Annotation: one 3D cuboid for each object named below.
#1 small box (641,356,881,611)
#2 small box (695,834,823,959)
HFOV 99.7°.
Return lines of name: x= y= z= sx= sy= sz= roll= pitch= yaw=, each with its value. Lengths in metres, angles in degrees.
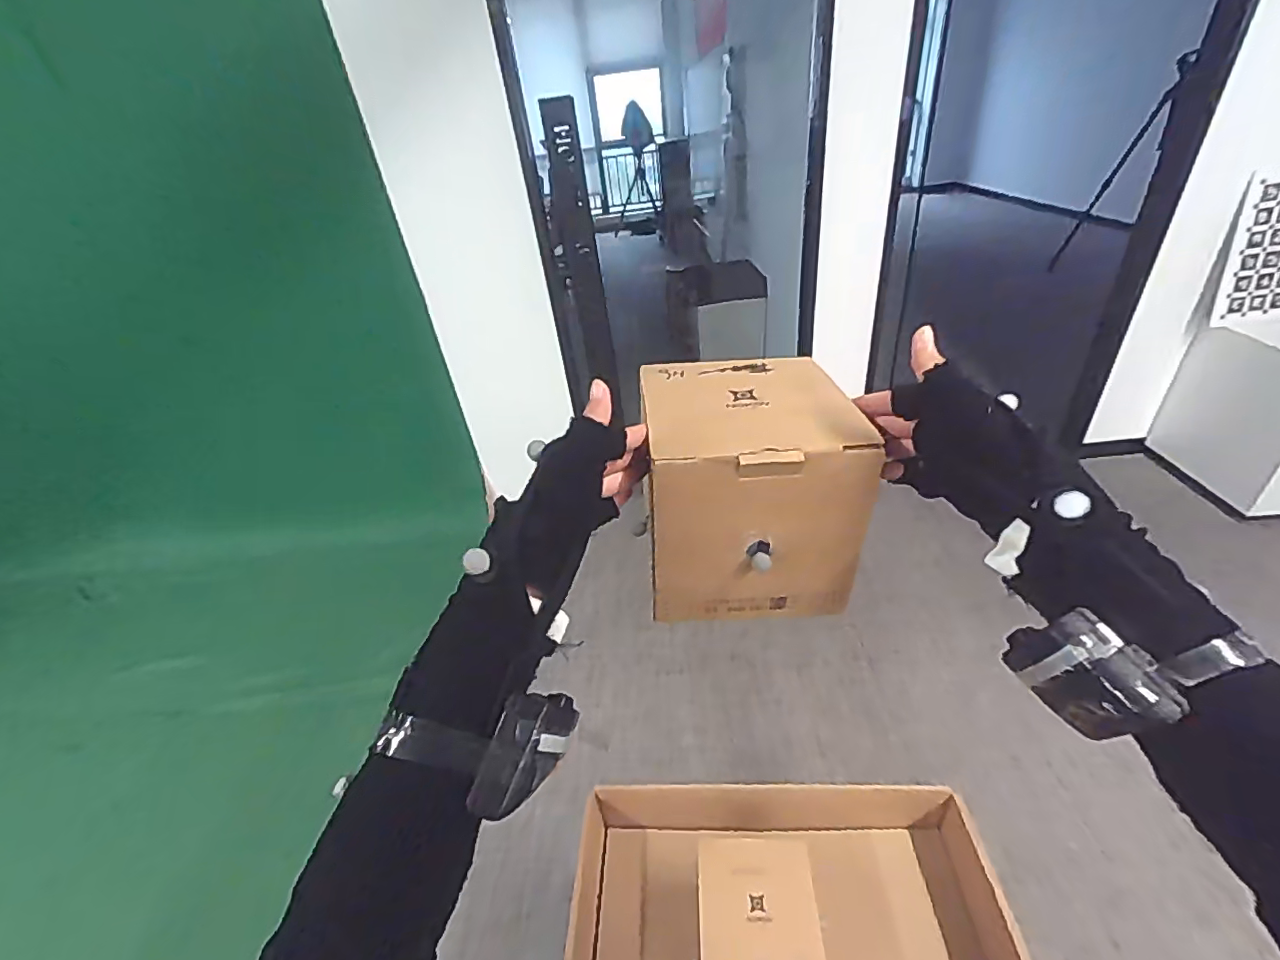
small box: x=0.088 y=0.003 z=0.486 sx=0.168 sy=0.176 sz=0.179 roll=-2 pitch=34 yaw=-1
small box: x=0.168 y=0.661 z=0.804 sx=0.168 sy=0.176 sz=0.179 roll=-2 pitch=33 yaw=4
